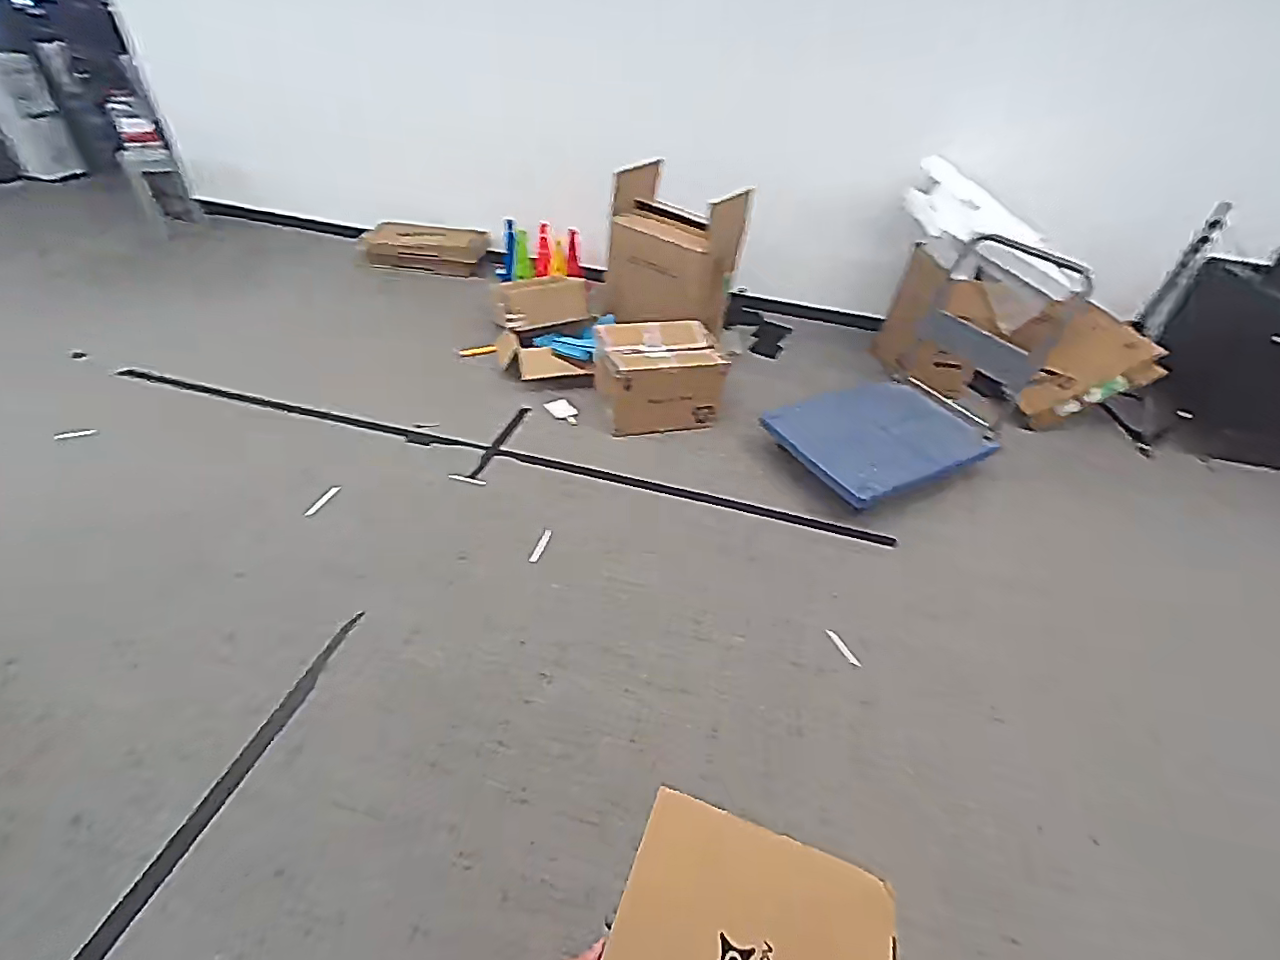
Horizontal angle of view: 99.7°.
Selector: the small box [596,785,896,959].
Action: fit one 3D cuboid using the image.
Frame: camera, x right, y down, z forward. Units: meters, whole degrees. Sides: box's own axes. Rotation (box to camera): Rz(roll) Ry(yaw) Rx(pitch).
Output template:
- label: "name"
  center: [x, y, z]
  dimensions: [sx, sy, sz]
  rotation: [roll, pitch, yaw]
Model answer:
- label: "small box"
  center: [0.065, 0.362, 0.386]
  dimensions: [0.179, 0.176, 0.168]
  rotation: [14, 43, 16]
